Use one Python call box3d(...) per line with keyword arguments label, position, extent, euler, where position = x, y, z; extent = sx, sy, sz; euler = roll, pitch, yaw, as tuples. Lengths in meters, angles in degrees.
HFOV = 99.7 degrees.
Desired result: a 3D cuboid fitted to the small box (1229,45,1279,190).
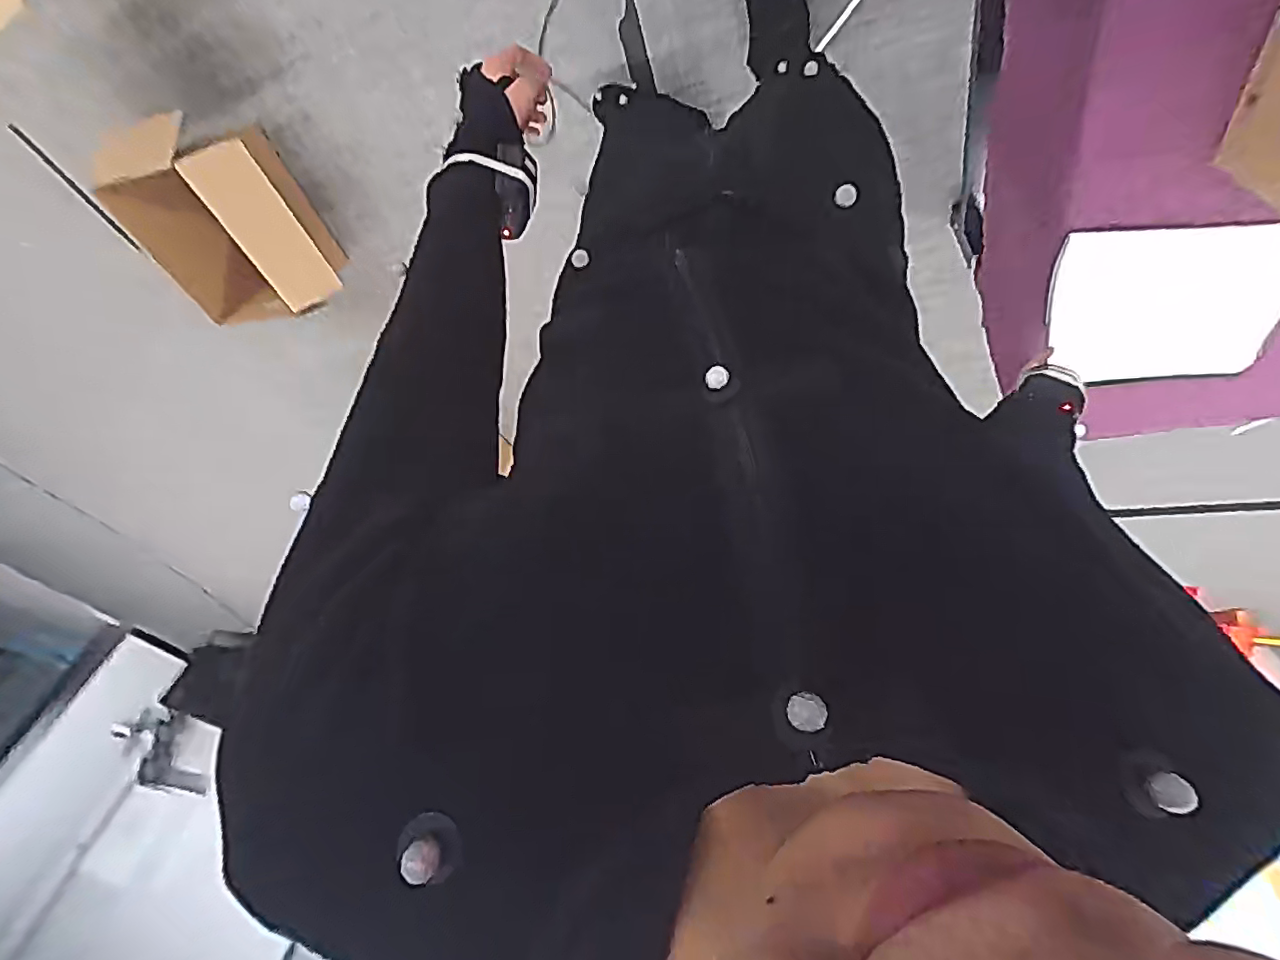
box3d(label="small box", position=(0.644, -0.330, 0.425), extent=(0.179, 0.176, 0.168), euler=(-4, 138, 18))
